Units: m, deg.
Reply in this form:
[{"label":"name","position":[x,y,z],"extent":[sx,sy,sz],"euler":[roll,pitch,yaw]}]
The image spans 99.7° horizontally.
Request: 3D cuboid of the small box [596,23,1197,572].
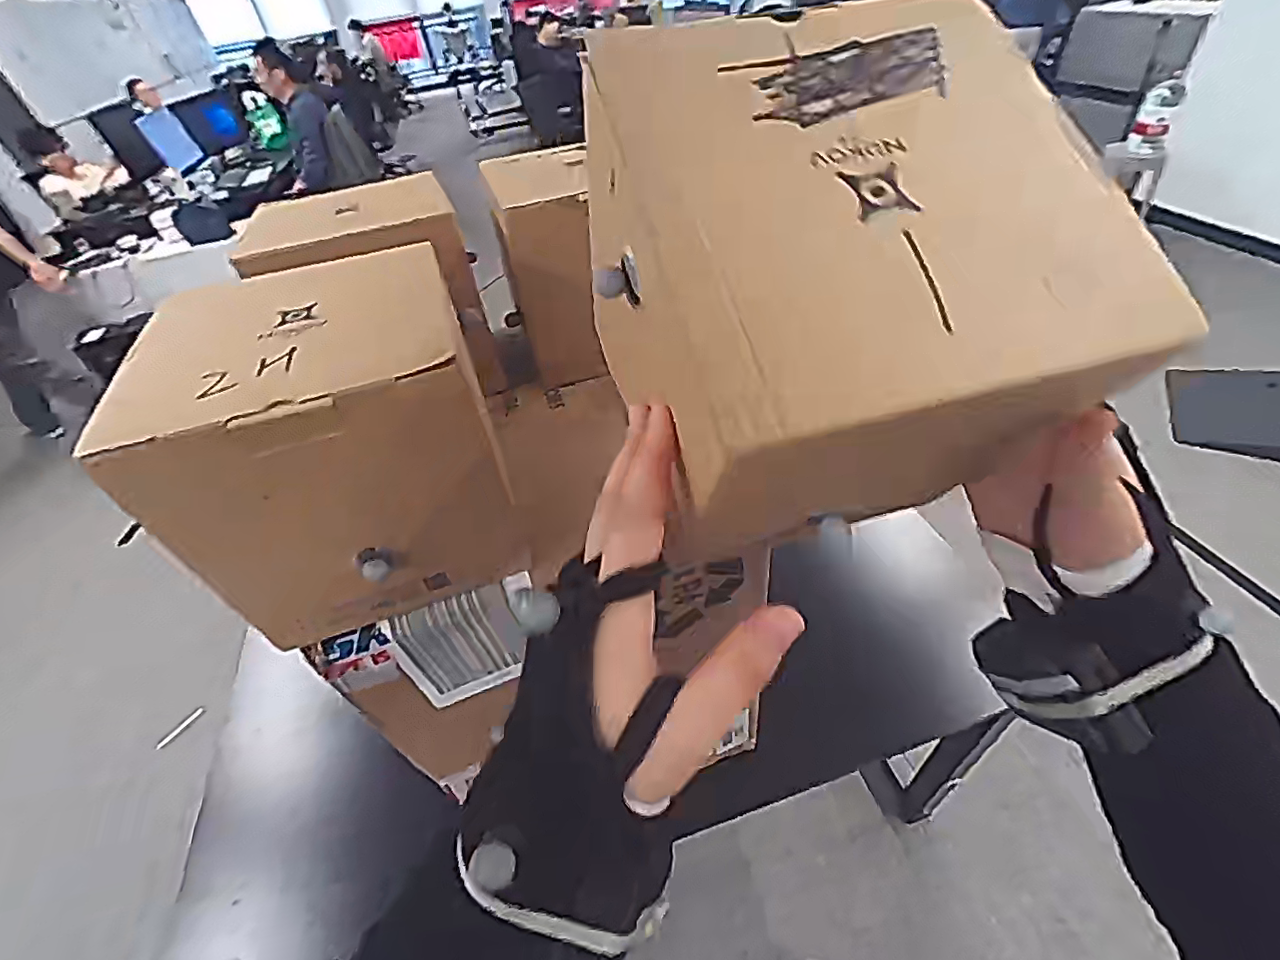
[{"label":"small box","position":[0.076,-0.070,0.265],"extent":[0.168,0.176,0.179],"euler":[-13,71,-7]}]
